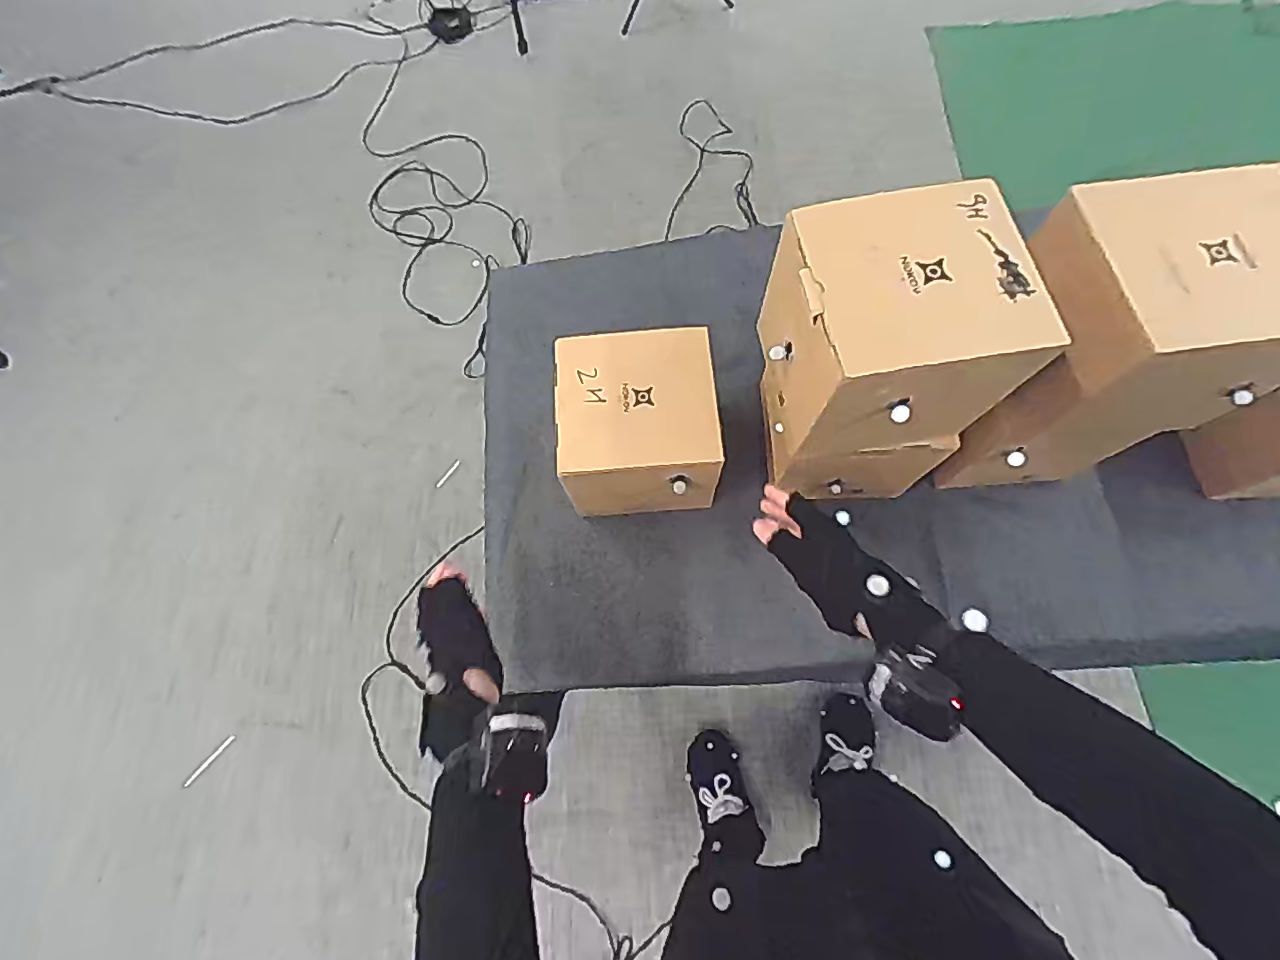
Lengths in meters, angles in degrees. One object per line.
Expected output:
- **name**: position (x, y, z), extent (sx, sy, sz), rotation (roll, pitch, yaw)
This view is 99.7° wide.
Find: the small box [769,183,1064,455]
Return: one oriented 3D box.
- **small box**: position (0.226, -0.135, 0.505), extent (0.179, 0.176, 0.168), rotation (-9, 71, 1)
